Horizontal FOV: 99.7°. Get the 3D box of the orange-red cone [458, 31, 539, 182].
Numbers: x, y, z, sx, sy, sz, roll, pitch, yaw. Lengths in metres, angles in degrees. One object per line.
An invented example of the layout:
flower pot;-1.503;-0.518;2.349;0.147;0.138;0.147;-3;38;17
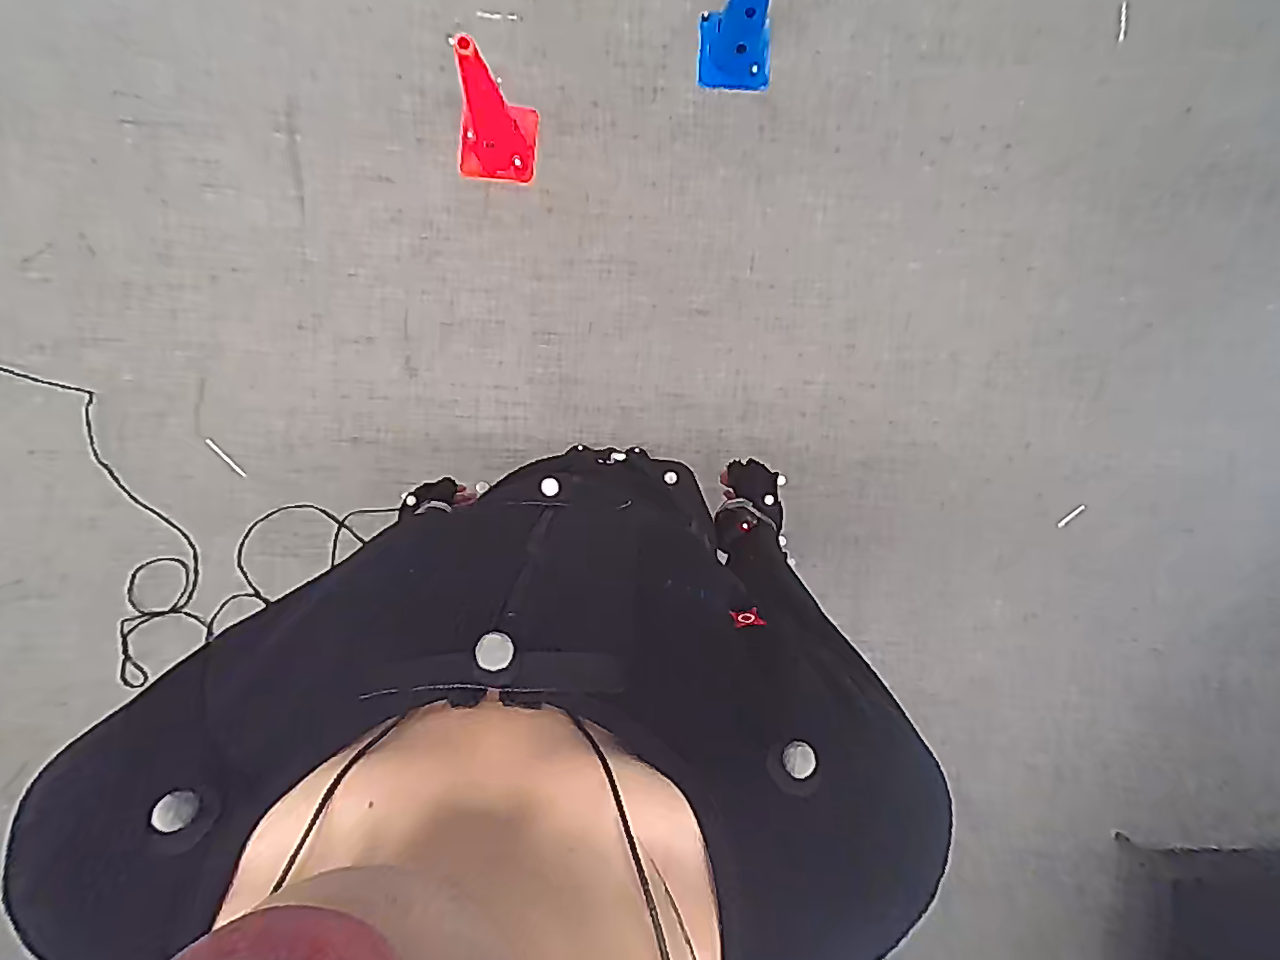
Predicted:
orange-red cone;-0.366;-0.906;1.279;0.198;0.360;0.199;7;91;-4
